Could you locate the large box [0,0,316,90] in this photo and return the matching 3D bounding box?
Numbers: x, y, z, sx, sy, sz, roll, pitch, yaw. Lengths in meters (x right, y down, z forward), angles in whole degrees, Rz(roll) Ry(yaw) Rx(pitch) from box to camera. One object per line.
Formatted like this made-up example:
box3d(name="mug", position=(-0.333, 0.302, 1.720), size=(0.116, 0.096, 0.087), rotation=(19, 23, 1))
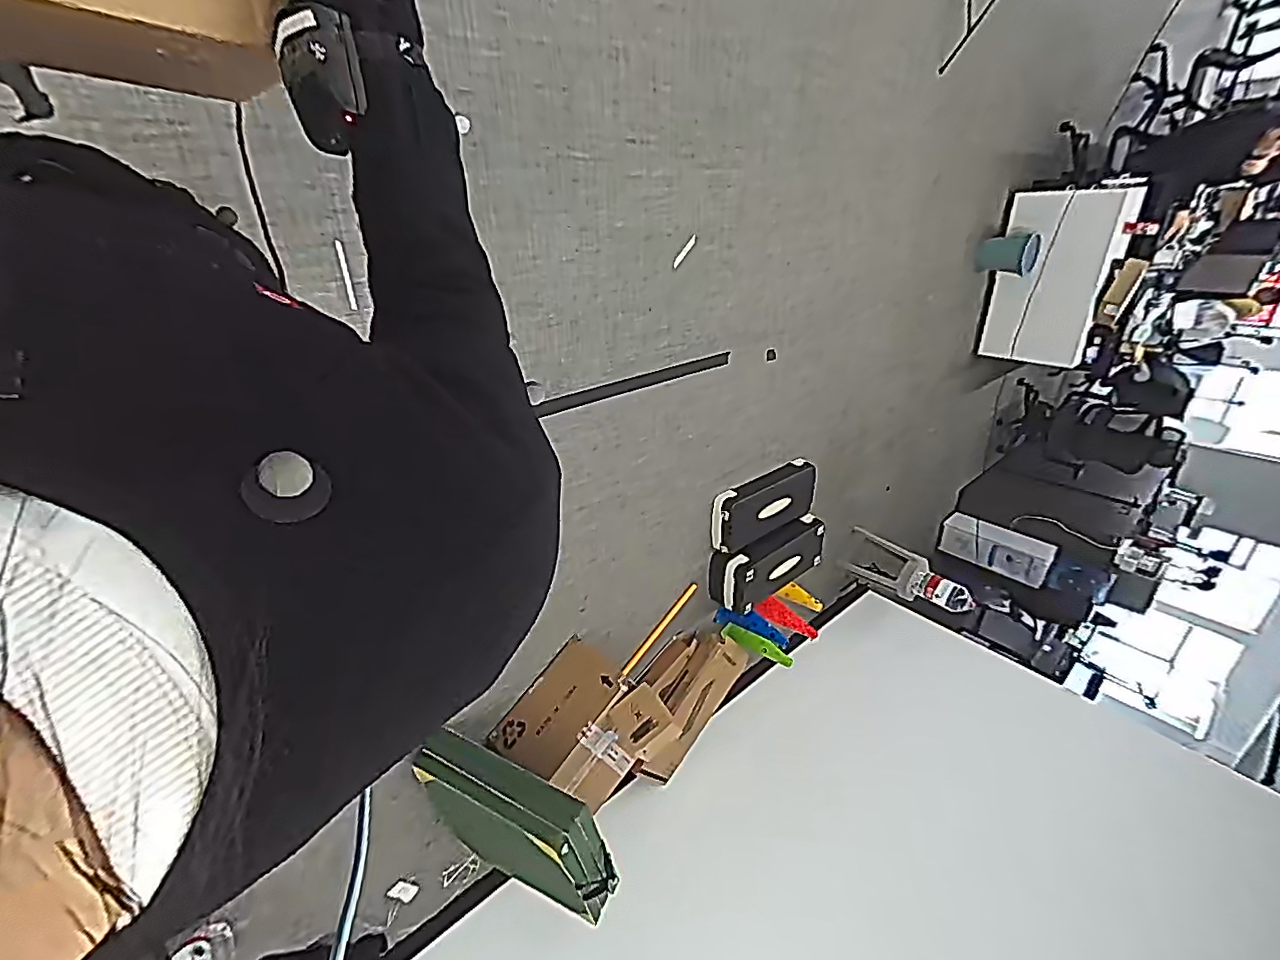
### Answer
box3d(name="large box", position=(-0.462, -0.444, 0.286), size=(0.408, 0.320, 0.320), rotation=(-18, 124, -39))
